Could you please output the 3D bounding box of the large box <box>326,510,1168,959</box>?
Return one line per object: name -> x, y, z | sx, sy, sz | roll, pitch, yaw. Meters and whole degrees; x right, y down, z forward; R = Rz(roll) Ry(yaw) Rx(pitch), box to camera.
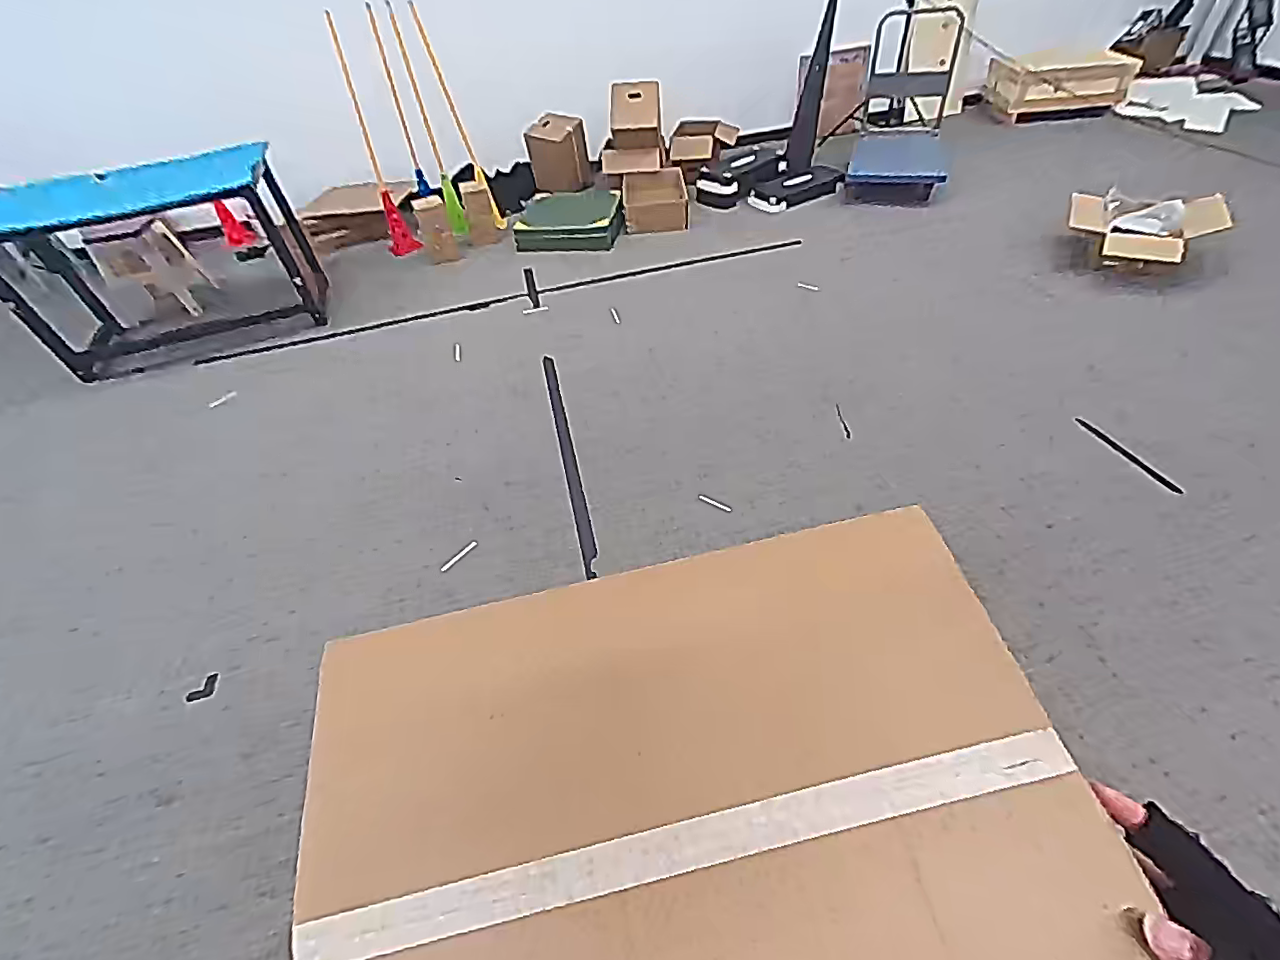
large box -> 0.042, 0.270, 0.414 | 0.408, 0.320, 0.320 | -13, 58, -3
